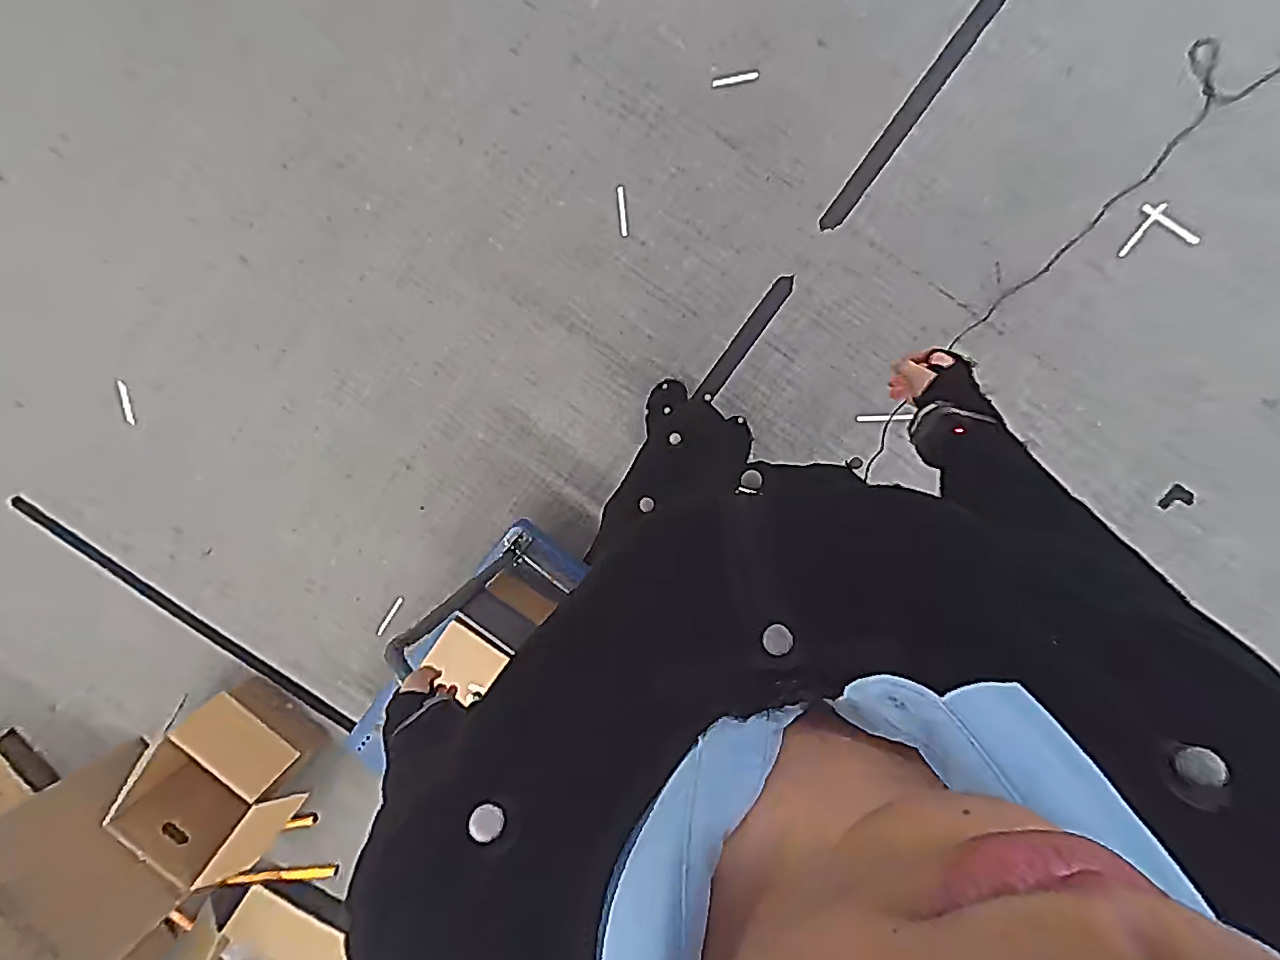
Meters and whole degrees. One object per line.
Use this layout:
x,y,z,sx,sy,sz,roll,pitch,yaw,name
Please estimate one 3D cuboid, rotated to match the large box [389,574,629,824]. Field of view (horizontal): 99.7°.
-0.287,0.498,1.296,0.408,0.320,0.320,35,101,0,large box
